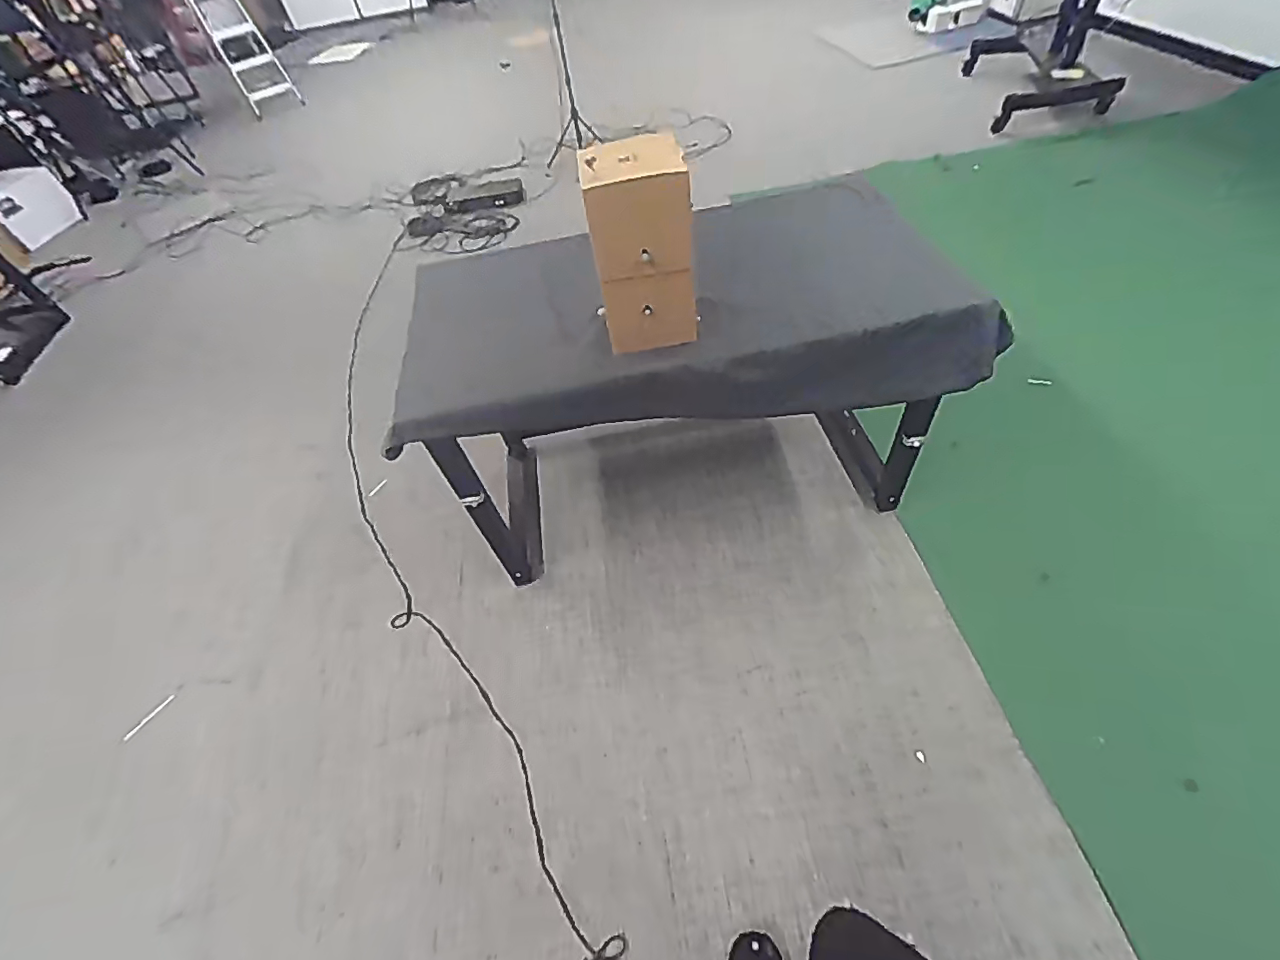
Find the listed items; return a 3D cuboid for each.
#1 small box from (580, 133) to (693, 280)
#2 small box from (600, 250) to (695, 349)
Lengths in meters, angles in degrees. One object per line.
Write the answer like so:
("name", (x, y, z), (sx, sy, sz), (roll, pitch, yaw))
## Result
("small box", (-0.003, -0.483, 0.962), (0.179, 0.176, 0.168), (-9, 50, 1))
("small box", (0.018, -0.388, 1.090), (0.179, 0.176, 0.168), (-8, 49, 3))
